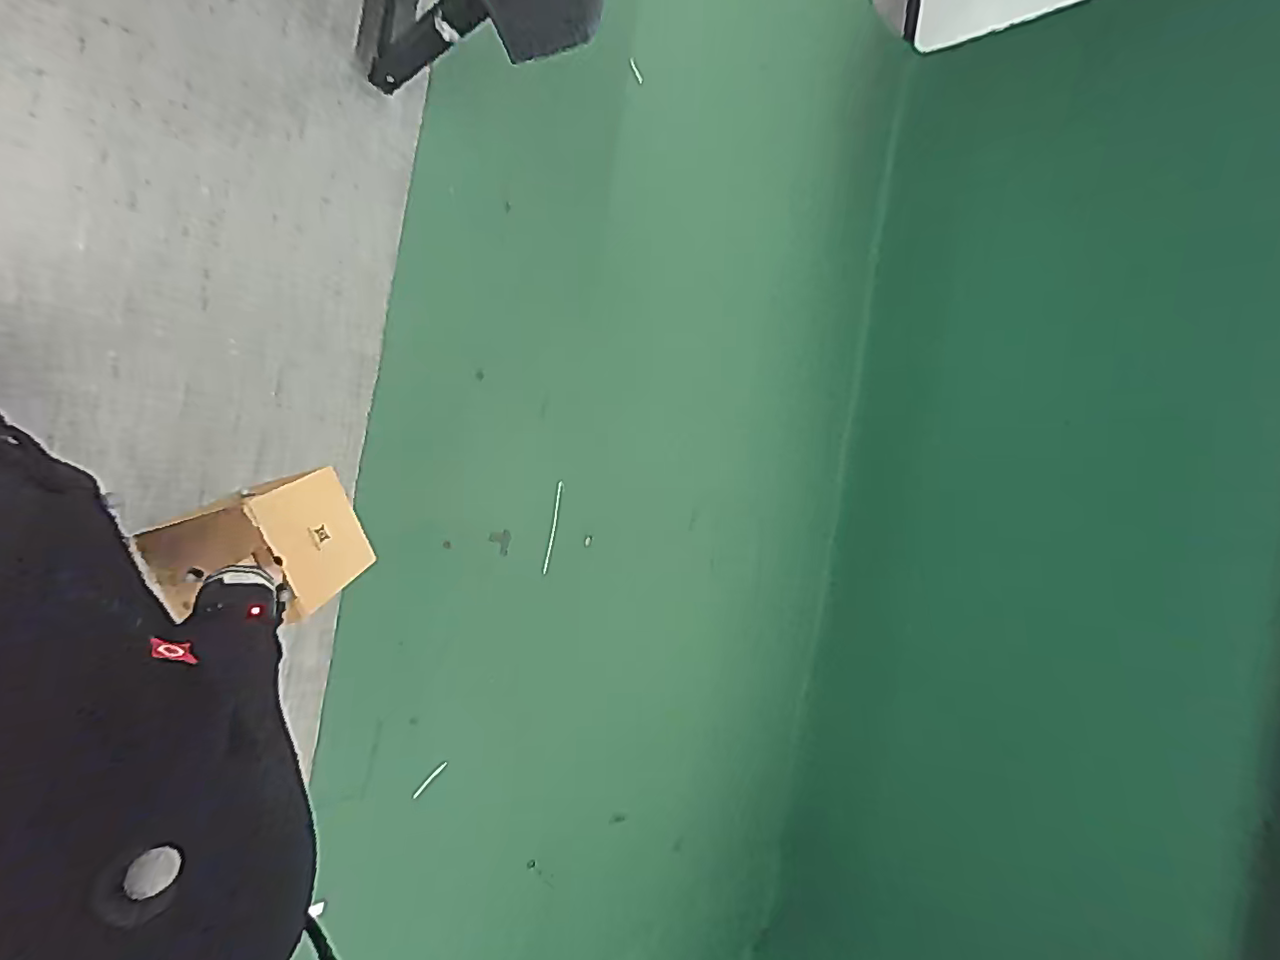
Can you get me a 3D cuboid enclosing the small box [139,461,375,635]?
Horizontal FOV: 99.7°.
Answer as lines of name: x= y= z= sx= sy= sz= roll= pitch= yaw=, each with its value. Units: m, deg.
small box: x=-0.519 y=0.089 z=0.755 sx=0.179 sy=0.176 sz=0.168 roll=-80 pitch=153 yaw=-72
